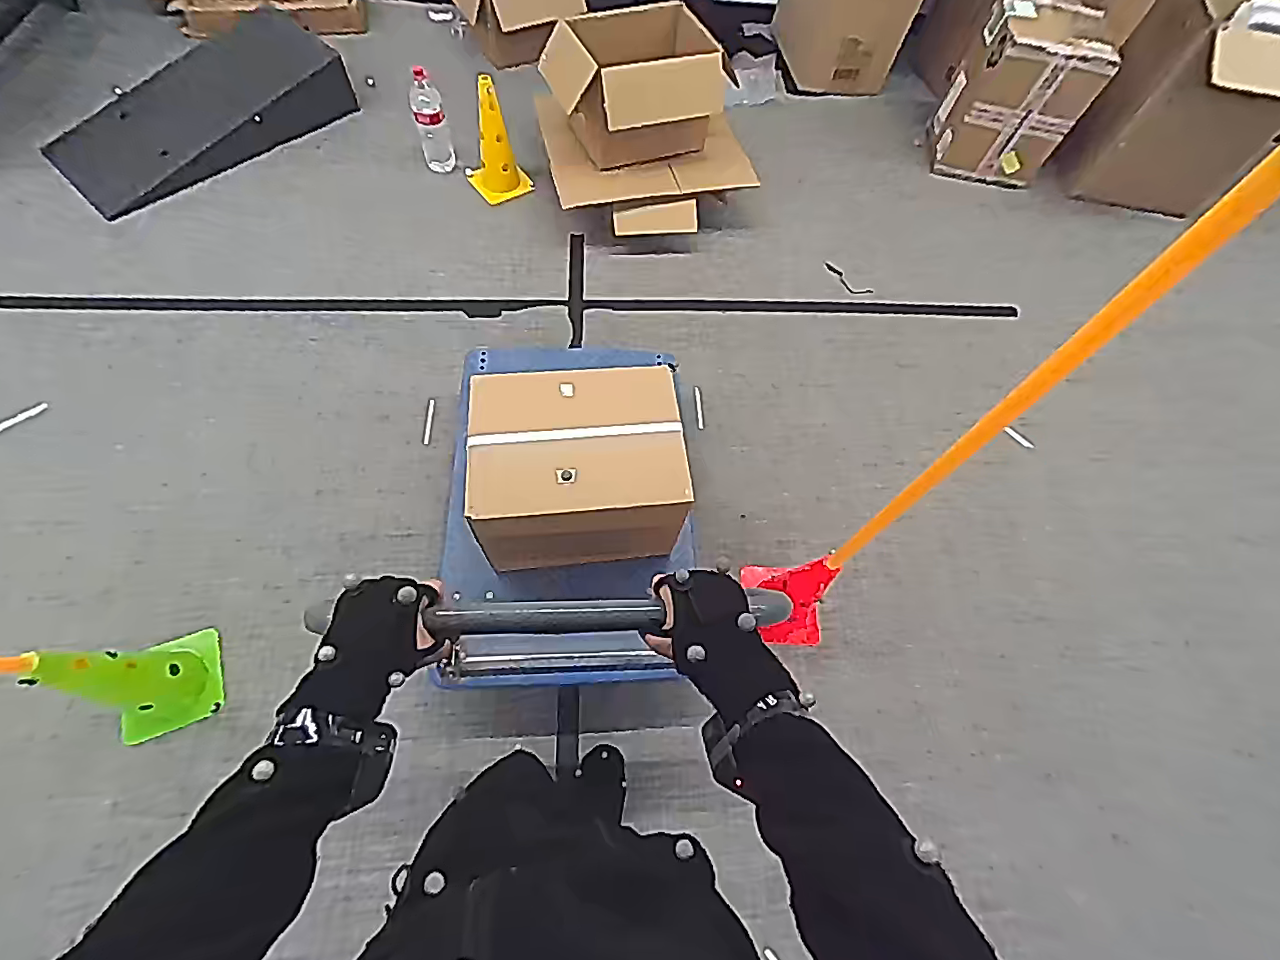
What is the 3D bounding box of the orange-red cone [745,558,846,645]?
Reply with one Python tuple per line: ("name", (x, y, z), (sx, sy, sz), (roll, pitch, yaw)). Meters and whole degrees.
("orange-red cone", (0.386, 0.249, 1.247), (0.199, 0.360, 0.198), (6, 64, -3))
